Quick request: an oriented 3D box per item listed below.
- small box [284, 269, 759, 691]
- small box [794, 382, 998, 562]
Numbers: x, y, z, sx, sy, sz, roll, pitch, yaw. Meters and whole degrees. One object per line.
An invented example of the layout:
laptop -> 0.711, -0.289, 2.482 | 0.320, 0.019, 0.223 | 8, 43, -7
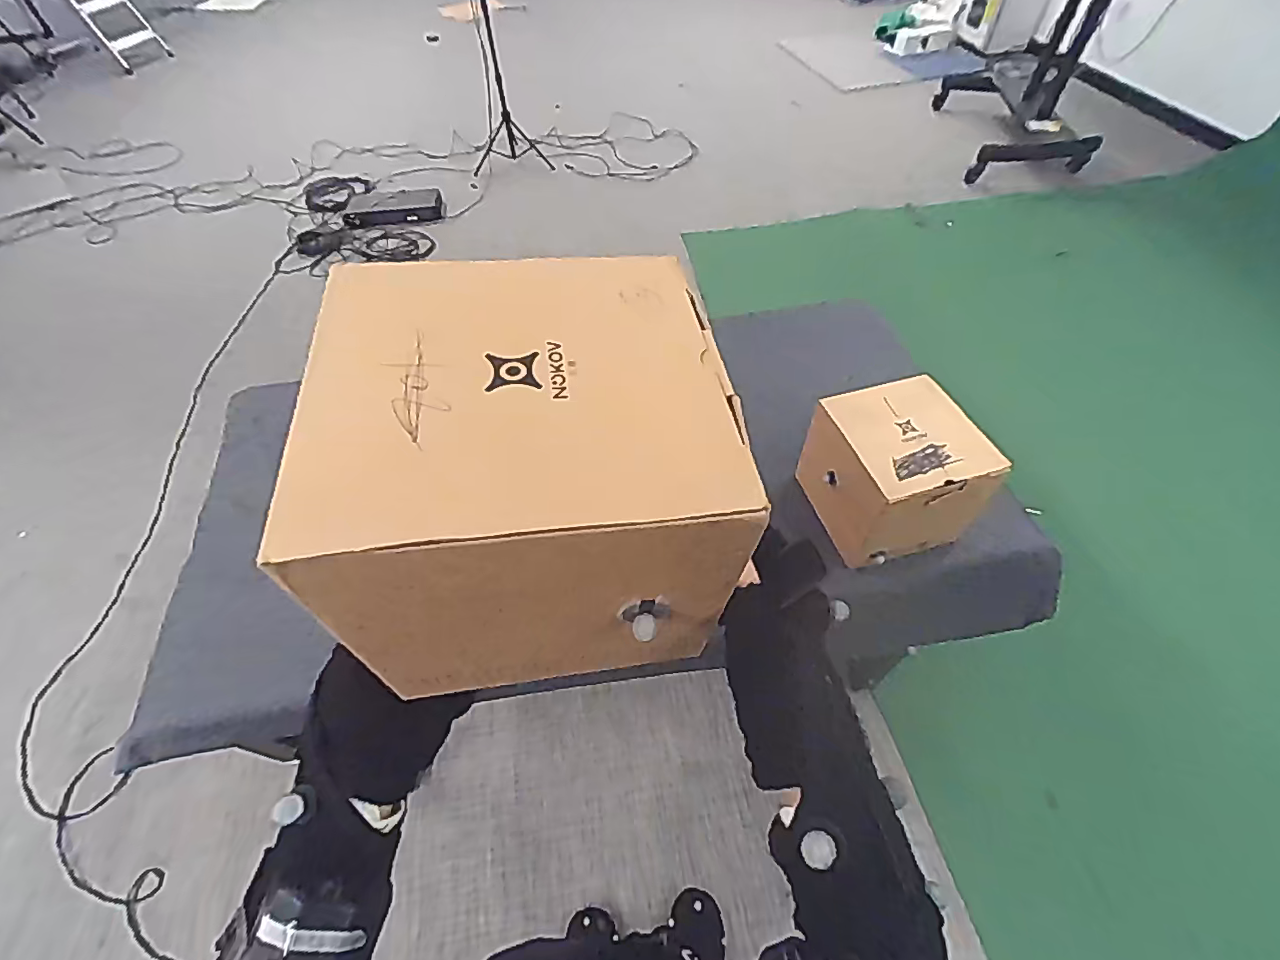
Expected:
small box -> -0.056, 0.004, 0.307 | 0.179, 0.176, 0.168 | -6, 54, -9
small box -> 0.336, -0.004, 0.752 | 0.168, 0.176, 0.179 | -13, 52, -8
